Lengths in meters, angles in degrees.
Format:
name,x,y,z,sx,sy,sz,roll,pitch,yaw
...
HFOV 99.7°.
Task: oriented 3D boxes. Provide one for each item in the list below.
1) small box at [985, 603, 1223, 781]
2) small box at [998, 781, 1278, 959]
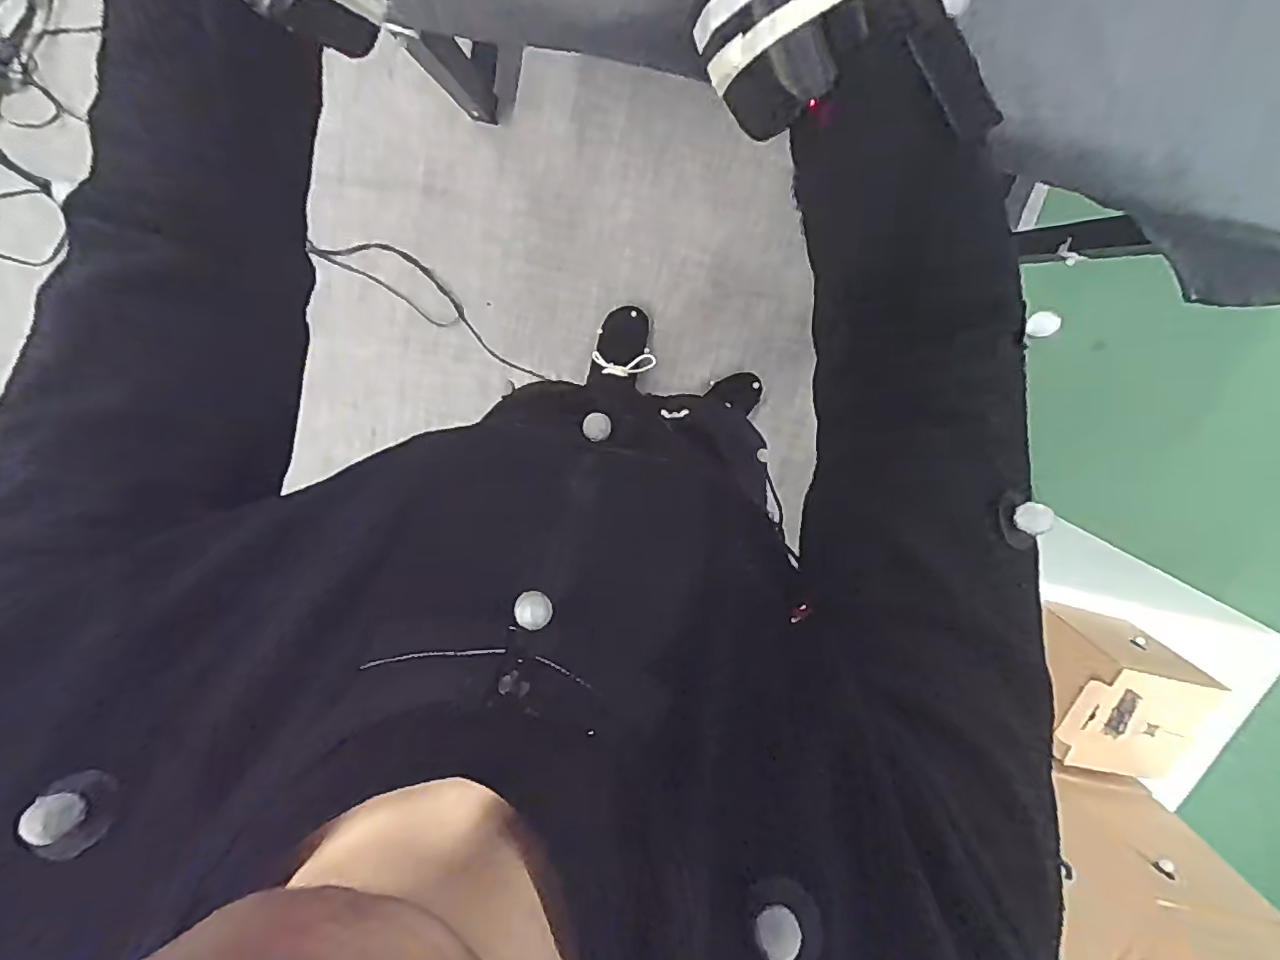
name,x,y,z,sx,sy,sz,roll,pitch,yaw
small box,0.668,0.306,0.807,0.179,0.176,0.168,13,109,-7
small box,0.623,0.531,0.707,0.179,0.176,0.168,14,107,-7
